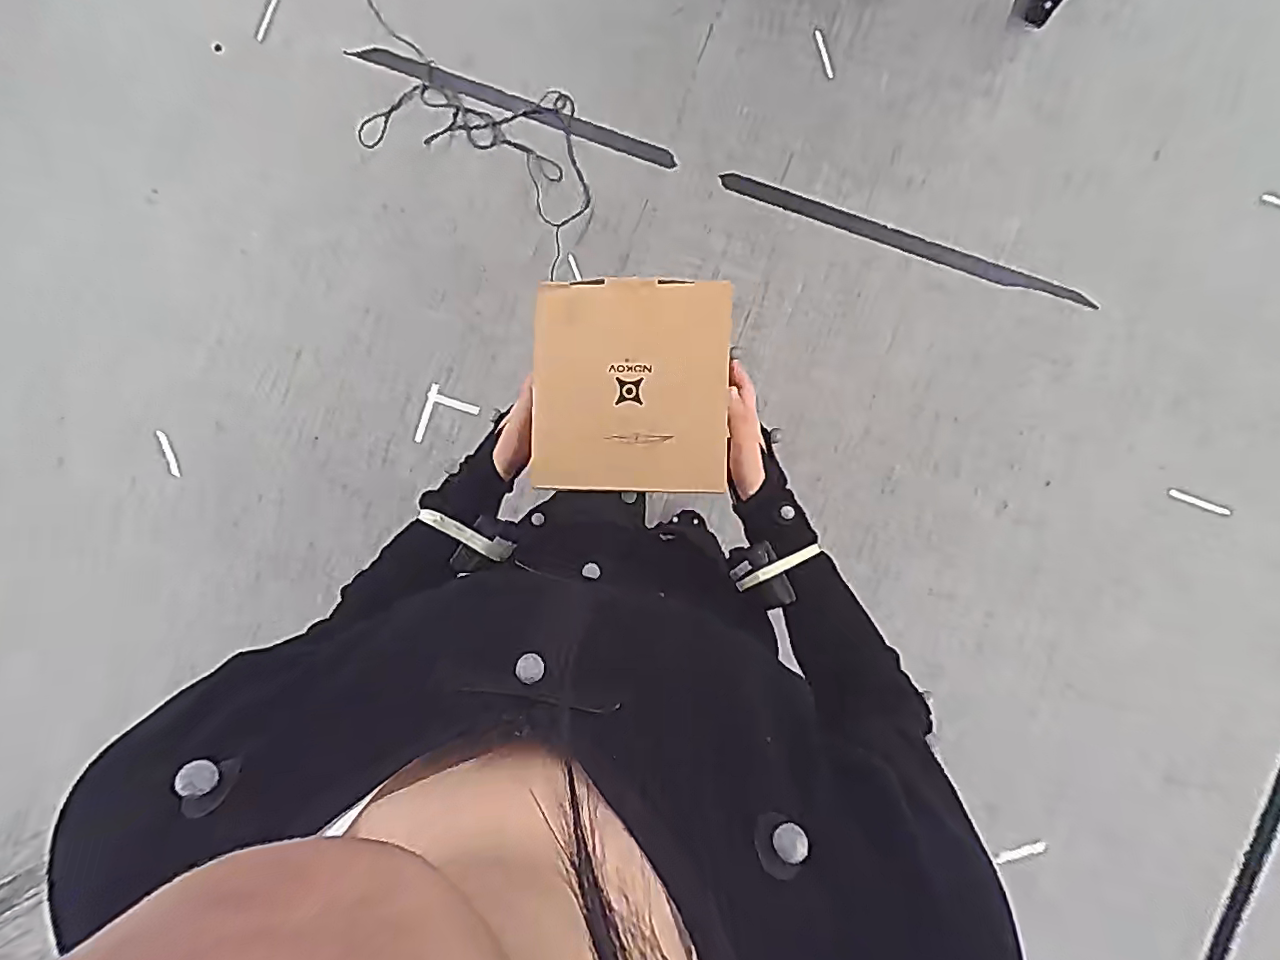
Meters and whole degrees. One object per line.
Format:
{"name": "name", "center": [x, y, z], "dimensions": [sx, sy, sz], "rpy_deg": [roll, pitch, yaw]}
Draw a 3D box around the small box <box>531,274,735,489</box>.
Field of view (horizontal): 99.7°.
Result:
{"name": "small box", "center": [-0.001, -0.083, 0.524], "dimensions": [0.168, 0.176, 0.179], "rpy_deg": [1, 92, 5]}
